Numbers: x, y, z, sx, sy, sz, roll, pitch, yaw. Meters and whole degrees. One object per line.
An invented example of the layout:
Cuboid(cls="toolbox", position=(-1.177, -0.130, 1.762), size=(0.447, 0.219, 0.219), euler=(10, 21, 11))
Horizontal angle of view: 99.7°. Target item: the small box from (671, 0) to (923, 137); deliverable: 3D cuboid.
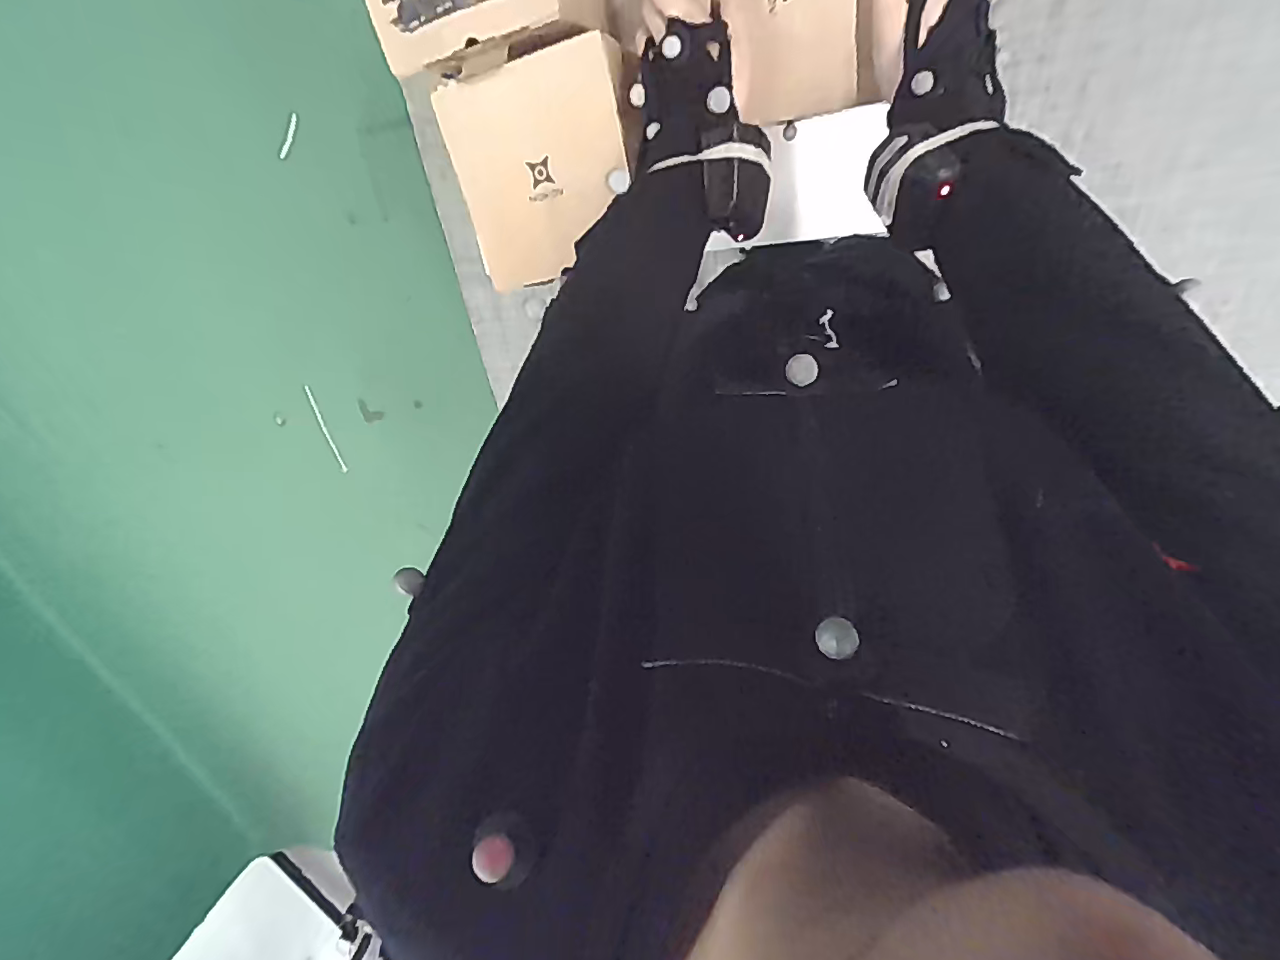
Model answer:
Cuboid(cls="small box", position=(0.127, -0.391, 0.445), size=(0.179, 0.176, 0.168), euler=(-1, 122, 17))
